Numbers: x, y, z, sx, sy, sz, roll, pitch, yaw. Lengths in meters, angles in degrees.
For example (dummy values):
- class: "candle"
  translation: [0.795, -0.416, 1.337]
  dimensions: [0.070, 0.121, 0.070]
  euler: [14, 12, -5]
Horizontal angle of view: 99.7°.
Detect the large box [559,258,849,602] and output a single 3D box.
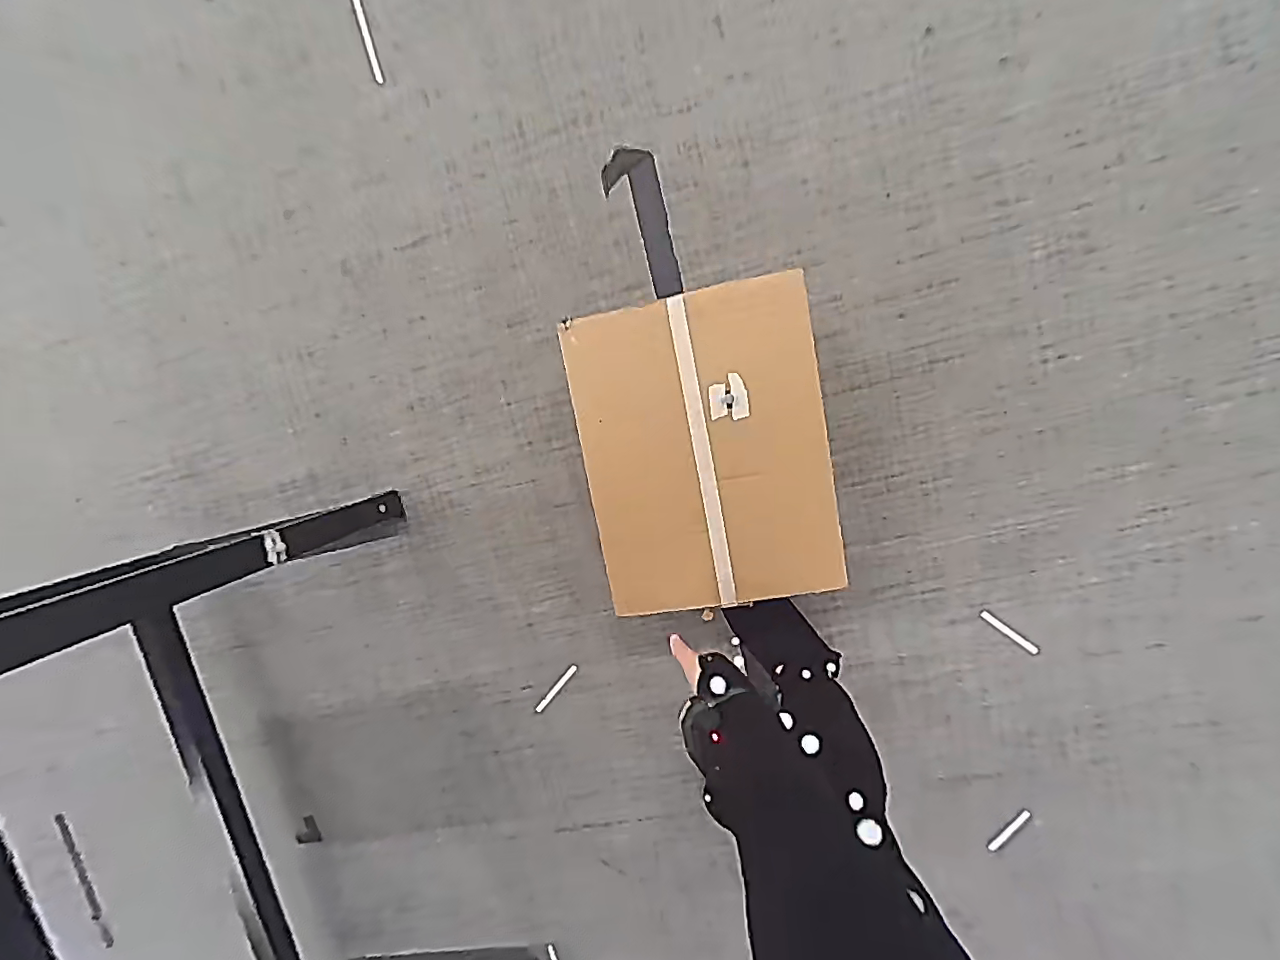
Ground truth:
- class: "large box"
  translation: [0.106, -0.071, 0.837]
  dimensions: [0.320, 0.320, 0.408]
  euler: [-10, 98, 10]
